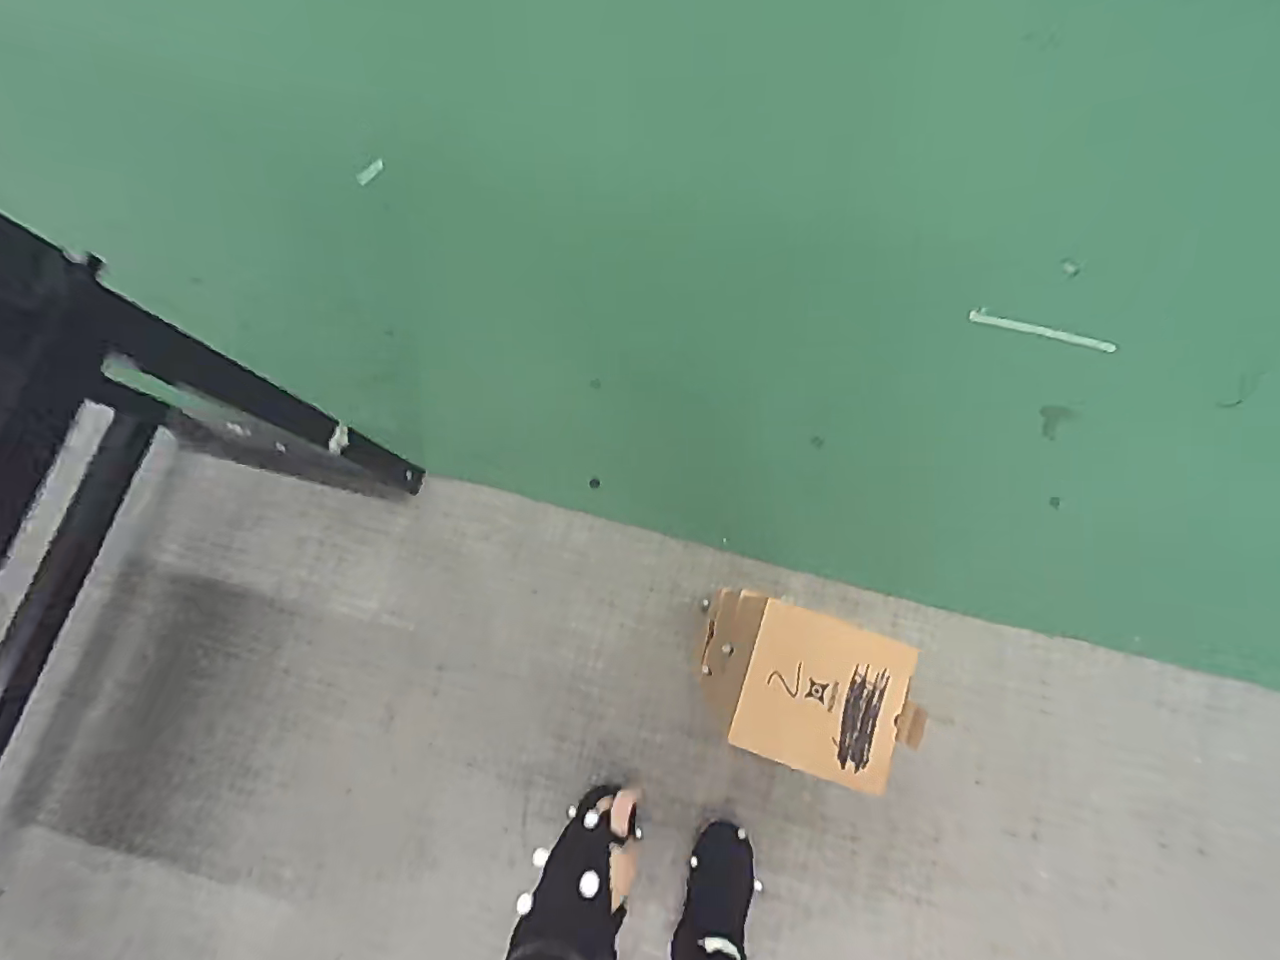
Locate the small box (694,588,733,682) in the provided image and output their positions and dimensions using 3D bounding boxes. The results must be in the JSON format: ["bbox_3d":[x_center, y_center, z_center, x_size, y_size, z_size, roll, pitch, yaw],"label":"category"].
[{"bbox_3d":[0.205,0.303,0.981,0.179,0.176,0.168,17,79,4],"label":"small box"}]

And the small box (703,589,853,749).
[{"bbox_3d":[0.198,0.275,0.822,0.168,0.176,0.179,16,78,4],"label":"small box"}]
